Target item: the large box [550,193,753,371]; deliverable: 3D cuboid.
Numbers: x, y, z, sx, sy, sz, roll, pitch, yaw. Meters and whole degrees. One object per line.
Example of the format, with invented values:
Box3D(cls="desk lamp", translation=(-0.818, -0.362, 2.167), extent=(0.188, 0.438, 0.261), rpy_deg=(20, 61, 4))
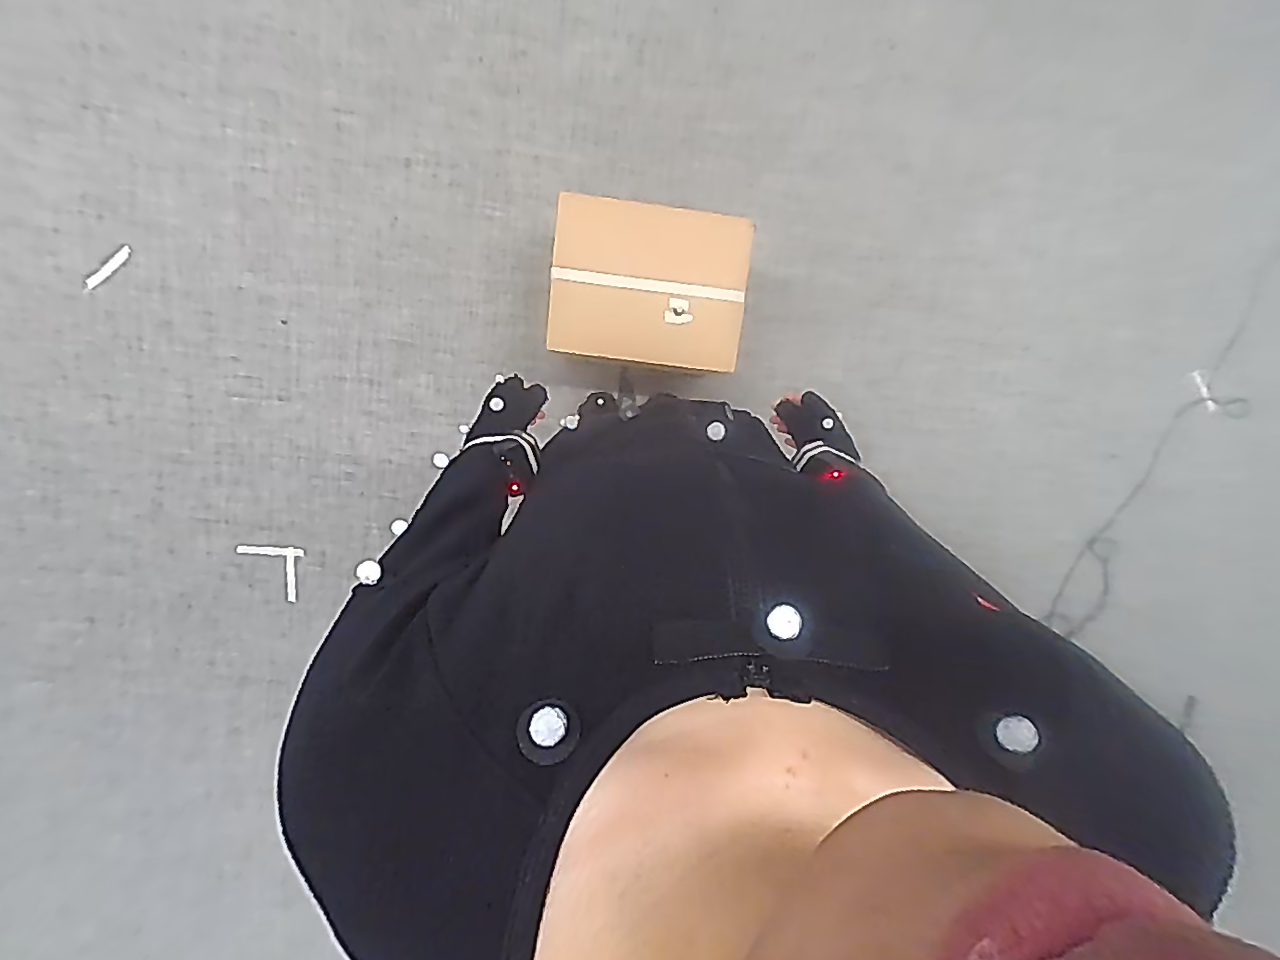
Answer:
Box3D(cls="large box", translation=(0.011, -0.434, 1.266), extent=(0.408, 0.320, 0.320), rpy_deg=(6, 100, -5))
